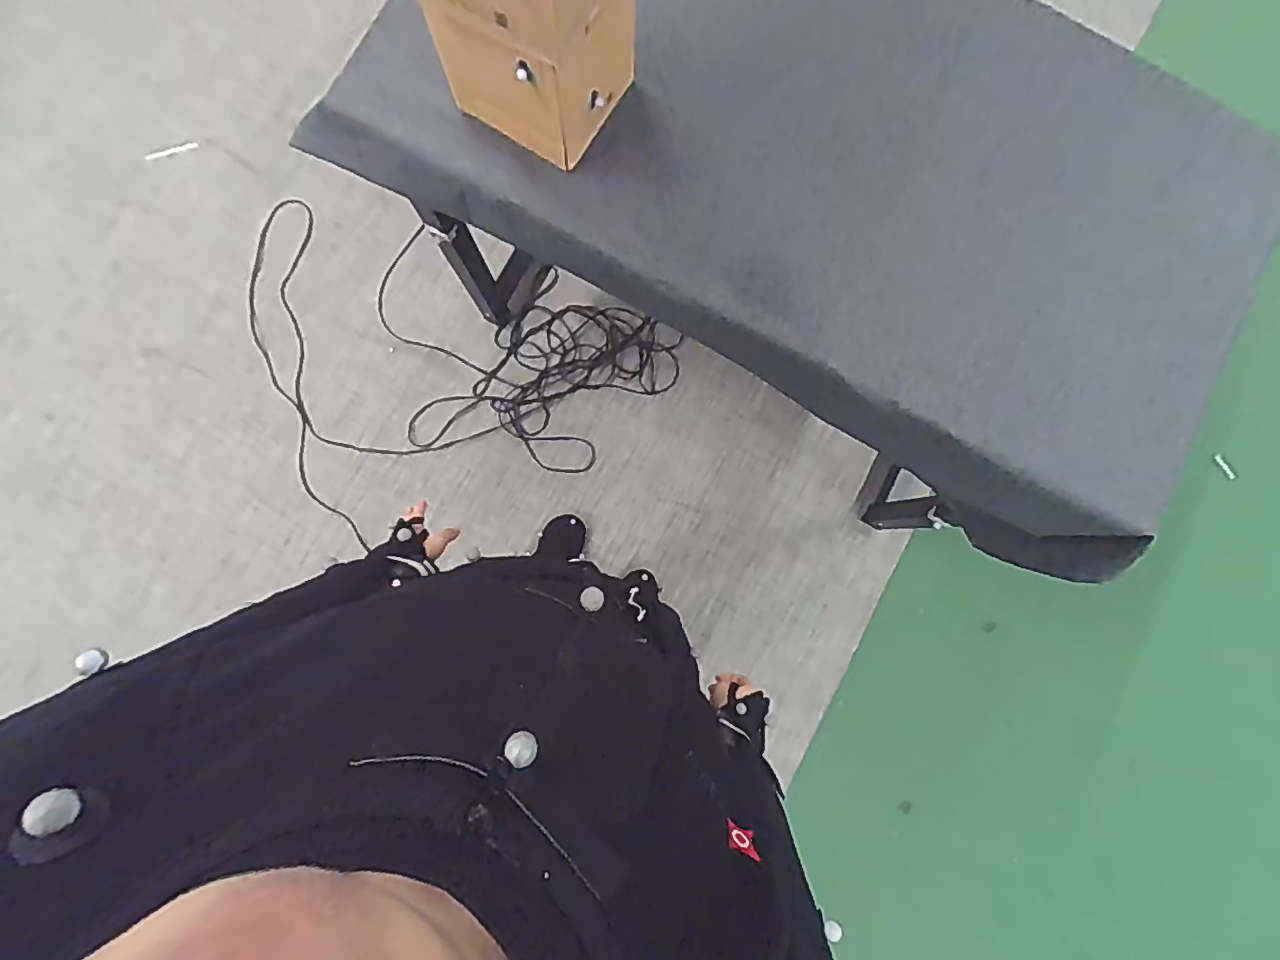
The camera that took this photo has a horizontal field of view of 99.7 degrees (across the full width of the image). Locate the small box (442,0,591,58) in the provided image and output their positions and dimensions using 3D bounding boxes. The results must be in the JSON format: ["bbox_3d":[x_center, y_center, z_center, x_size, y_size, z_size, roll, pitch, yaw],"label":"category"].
[{"bbox_3d":[-0.112,-0.531,0.470,0.168,0.176,0.179,26,82,-2],"label":"small box"}]

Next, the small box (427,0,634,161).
[{"bbox_3d":[-0.122,-0.522,0.632,0.179,0.176,0.168,31,83,0],"label":"small box"}]
